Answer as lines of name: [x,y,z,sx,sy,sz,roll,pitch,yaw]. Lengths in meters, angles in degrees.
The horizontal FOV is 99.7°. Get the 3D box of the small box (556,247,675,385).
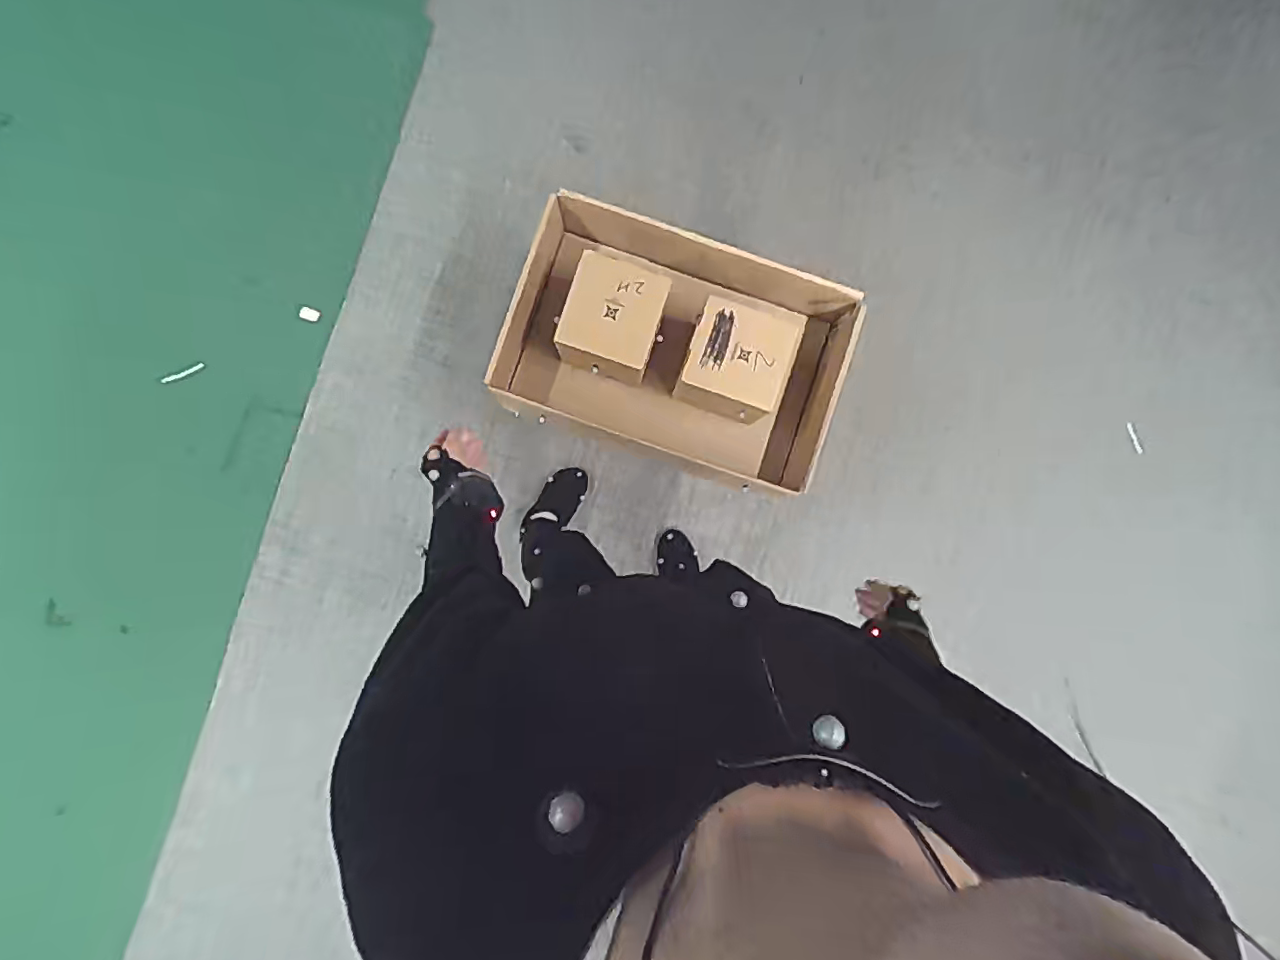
small box: [-0.045,-0.296,1.019,0.168,0.176,0.179,20,88,-3]
